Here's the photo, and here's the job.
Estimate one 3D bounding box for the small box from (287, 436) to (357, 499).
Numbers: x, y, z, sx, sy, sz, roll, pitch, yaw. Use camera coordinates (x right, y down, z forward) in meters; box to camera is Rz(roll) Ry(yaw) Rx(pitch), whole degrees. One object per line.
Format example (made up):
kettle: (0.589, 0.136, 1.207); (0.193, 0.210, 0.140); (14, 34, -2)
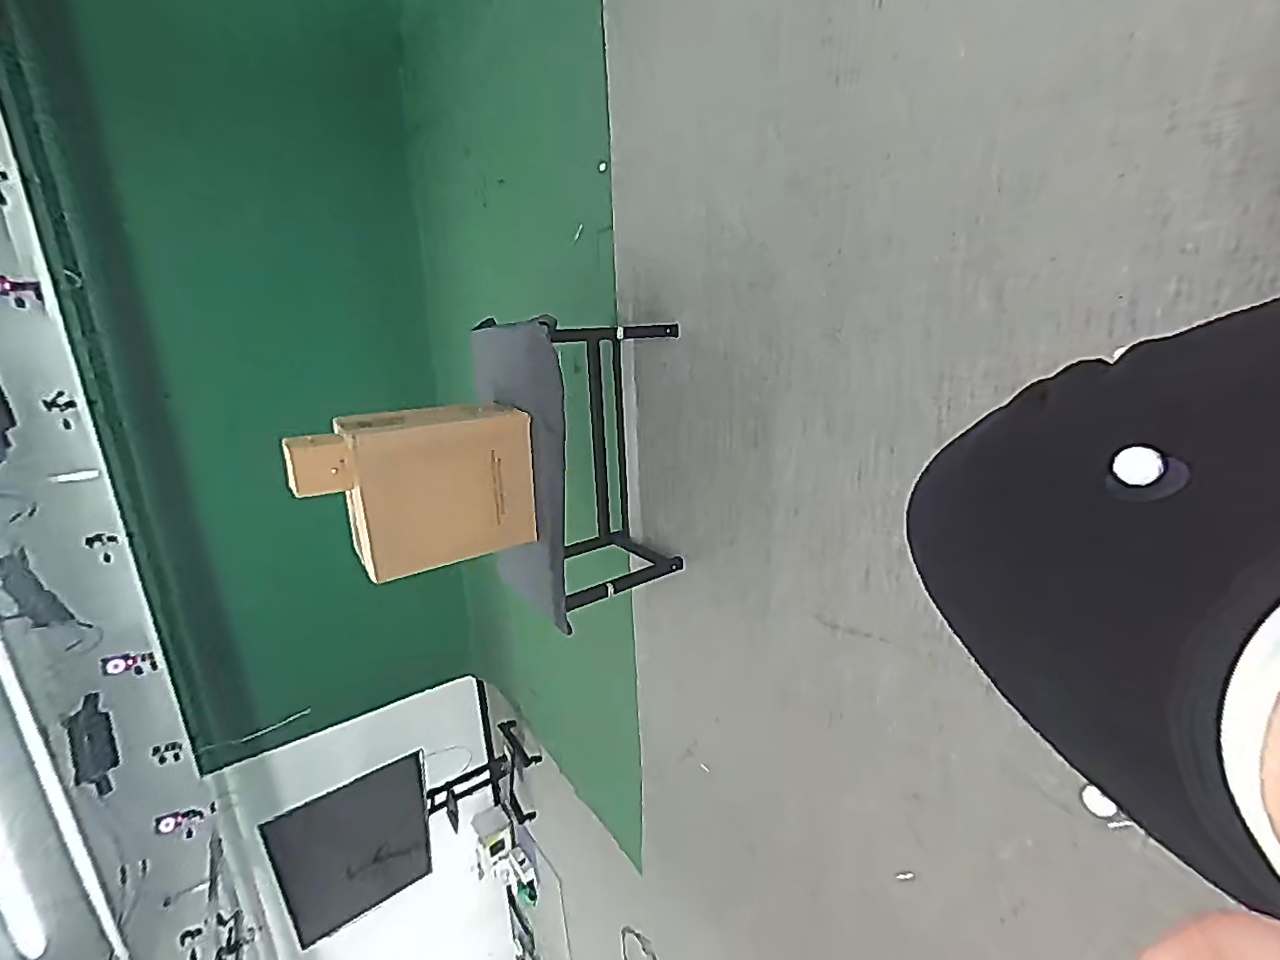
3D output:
small box: (-1.076, -0.048, 1.832); (0.179, 0.176, 0.168); (21, 117, 48)
